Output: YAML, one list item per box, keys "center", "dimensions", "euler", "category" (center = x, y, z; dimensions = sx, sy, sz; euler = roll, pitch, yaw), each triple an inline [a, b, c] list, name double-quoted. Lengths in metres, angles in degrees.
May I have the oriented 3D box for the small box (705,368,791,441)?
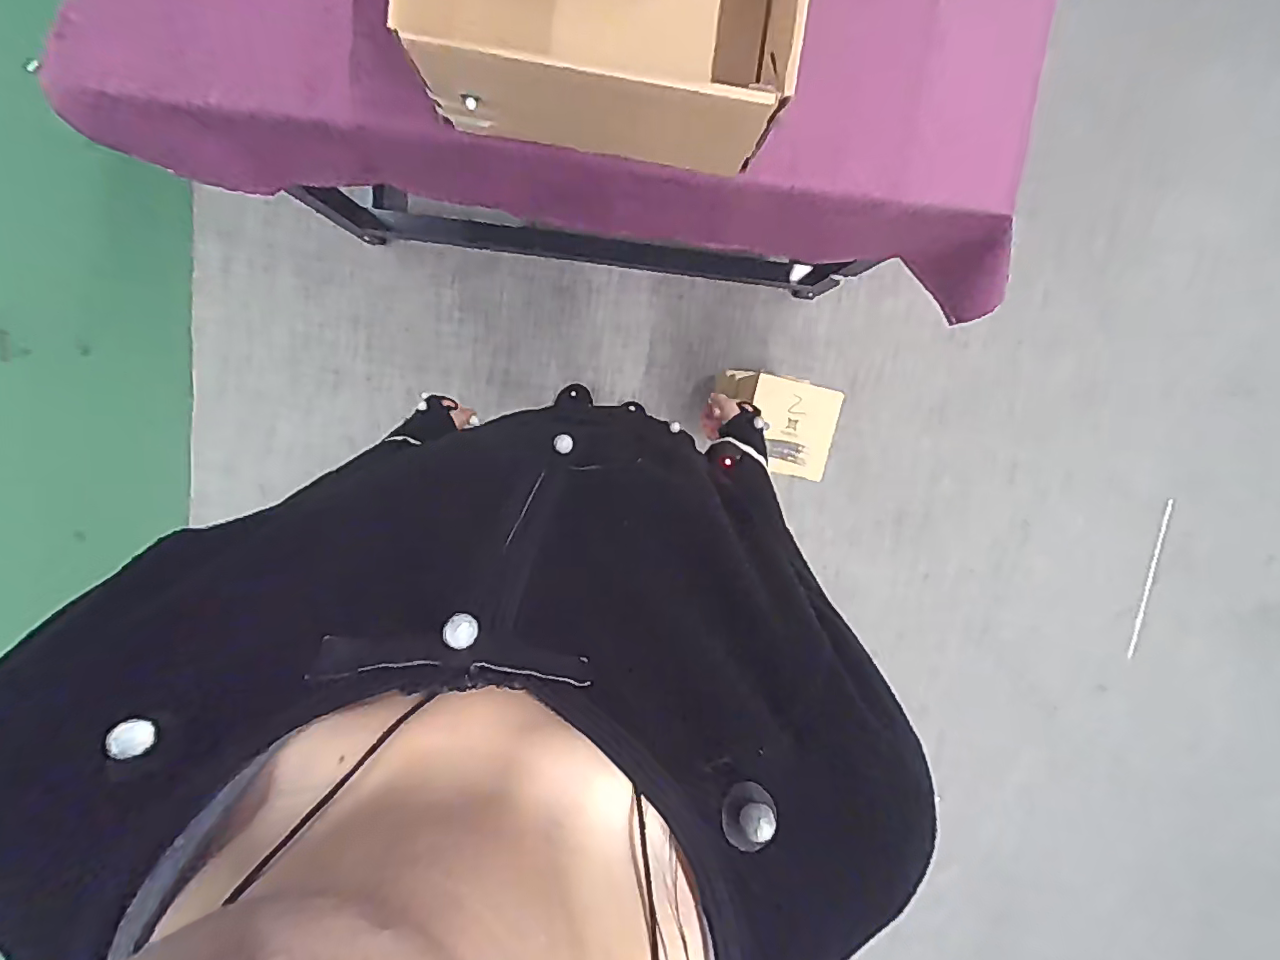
- center: [0.275, -0.198, 1.411]
  dimensions: [0.179, 0.176, 0.168]
  euler: [6, 98, -2]
  category: "small box"
